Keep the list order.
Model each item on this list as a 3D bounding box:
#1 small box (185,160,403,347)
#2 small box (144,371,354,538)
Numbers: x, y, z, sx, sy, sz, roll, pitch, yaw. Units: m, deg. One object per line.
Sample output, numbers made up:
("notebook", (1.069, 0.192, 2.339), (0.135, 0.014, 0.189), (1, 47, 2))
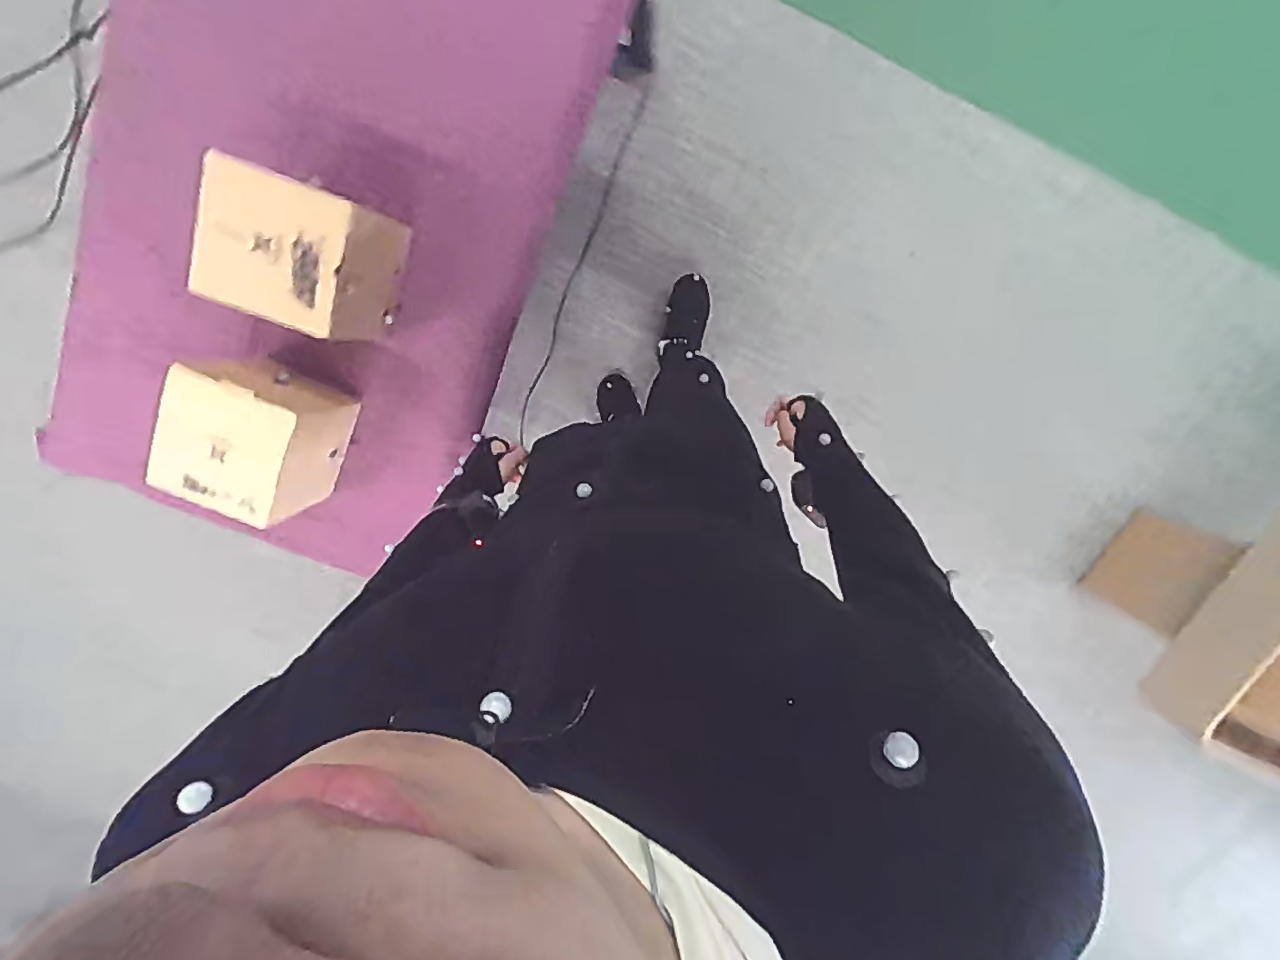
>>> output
("small box", (-0.443, -0.286, 0.718), (0.179, 0.176, 0.168), (19, 104, -4))
("small box", (-0.547, -0.048, 0.781), (0.168, 0.176, 0.179), (23, 102, -6))
